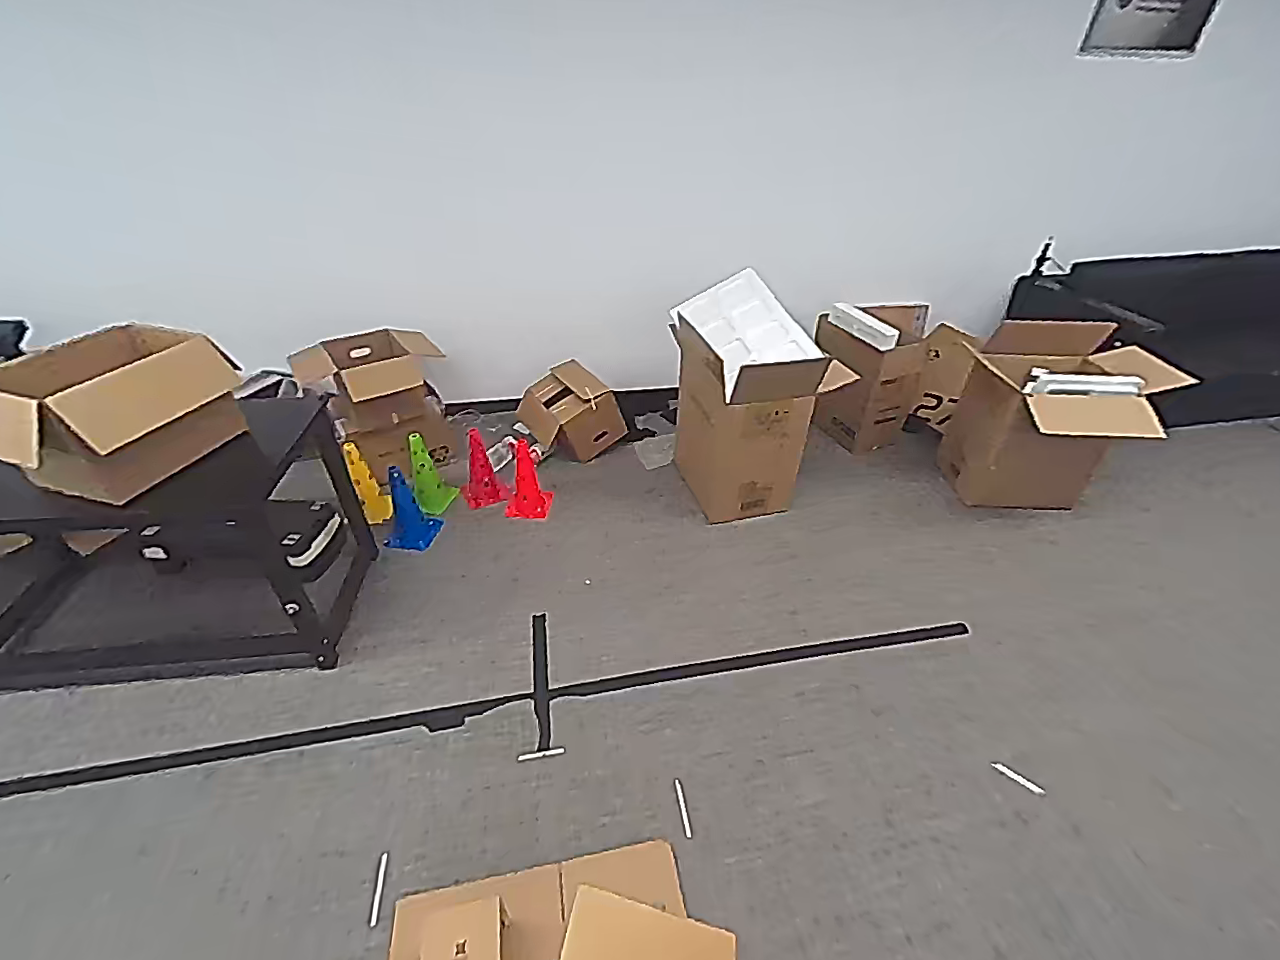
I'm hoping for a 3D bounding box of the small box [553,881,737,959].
[{"bbox_3d":[-0.014,0.552,0.546,0.179,0.176,0.168,17,36,2],"label":"small box"}]

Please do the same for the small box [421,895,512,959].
[{"bbox_3d":[-0.372,1.049,1.172,0.168,0.176,0.179,-7,38,-10],"label":"small box"}]
